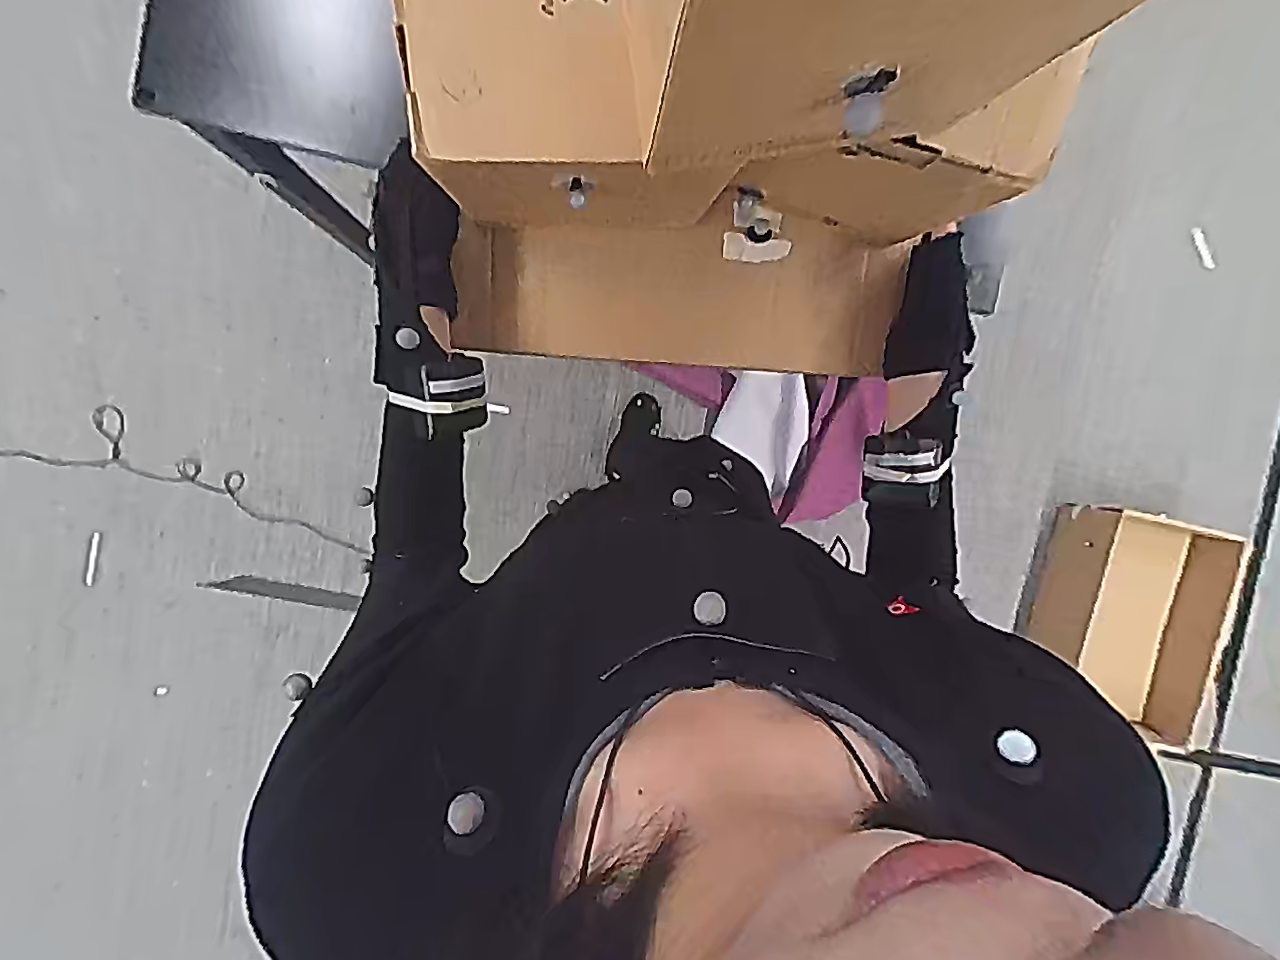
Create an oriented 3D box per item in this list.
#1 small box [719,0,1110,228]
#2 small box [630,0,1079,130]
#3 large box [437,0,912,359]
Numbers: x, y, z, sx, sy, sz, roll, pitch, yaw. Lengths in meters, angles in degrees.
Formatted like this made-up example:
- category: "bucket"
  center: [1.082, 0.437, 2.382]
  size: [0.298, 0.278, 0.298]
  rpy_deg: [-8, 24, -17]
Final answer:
- category: "small box"
  center: [0.159, -0.287, 0.348]
  size: [0.168, 0.176, 0.179]
  rpy_deg: [14, 100, -7]
- category: "small box"
  center: [0.079, -0.246, 0.185]
  size: [0.168, 0.176, 0.179]
  rpy_deg: [-9, 104, -1]
- category: "large box"
  center: [0.027, -0.297, 0.588]
  size: [0.408, 0.320, 0.320]
  rpy_deg: [2, 103, -5]
